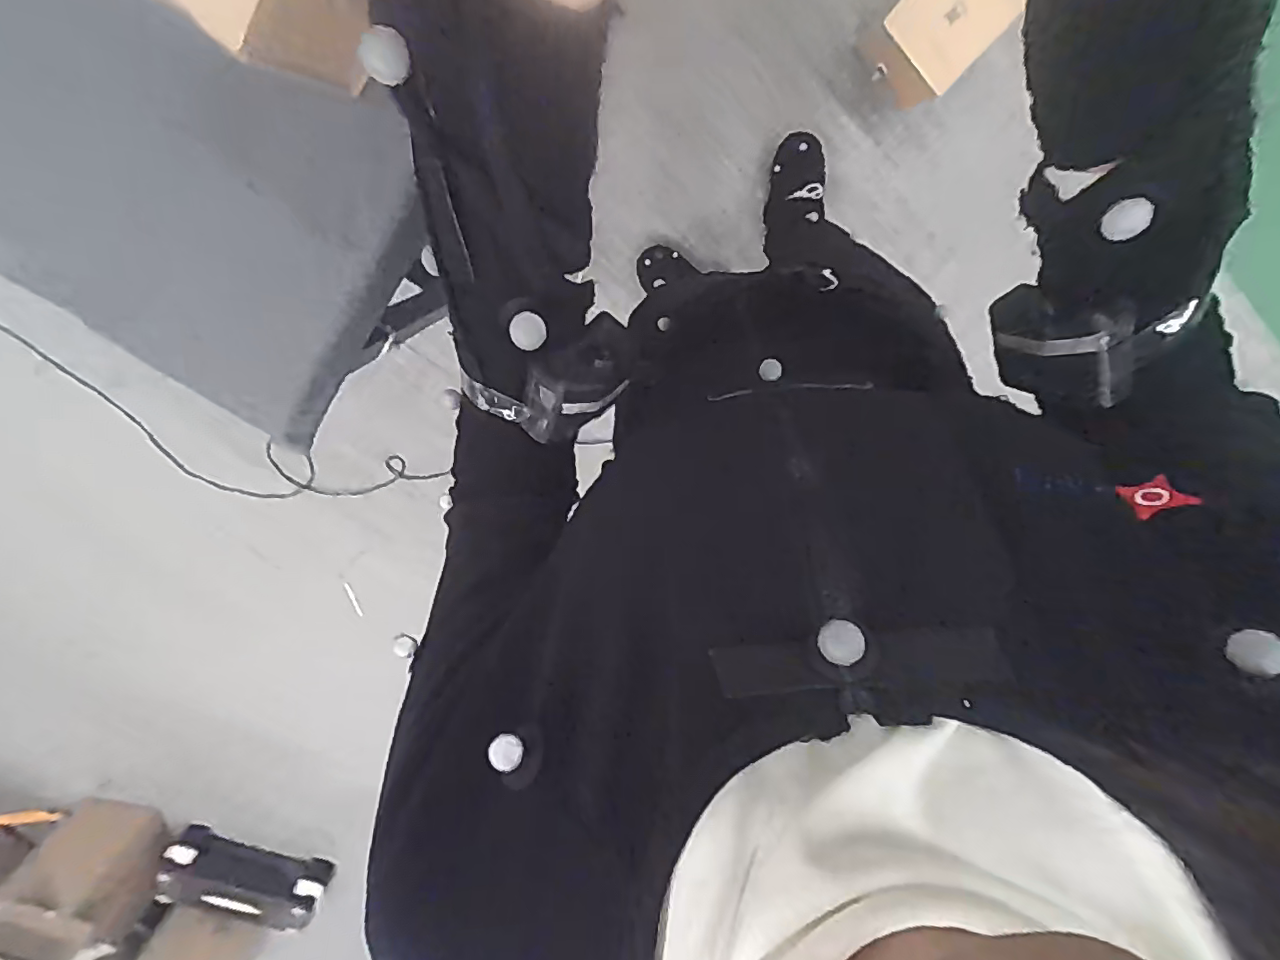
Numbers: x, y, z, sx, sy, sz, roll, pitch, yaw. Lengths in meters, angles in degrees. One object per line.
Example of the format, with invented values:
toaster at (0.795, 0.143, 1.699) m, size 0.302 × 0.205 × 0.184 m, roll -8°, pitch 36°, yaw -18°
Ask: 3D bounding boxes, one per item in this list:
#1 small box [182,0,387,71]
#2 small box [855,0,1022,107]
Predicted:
small box at (-0.281, -0.445, 0.389) m, size 0.168 × 0.176 × 0.179 m, roll 39°, pitch 113°, yaw -16°
small box at (0.527, -0.823, 0.981) m, size 0.168 × 0.176 × 0.179 m, roll 39°, pitch 114°, yaw -16°
